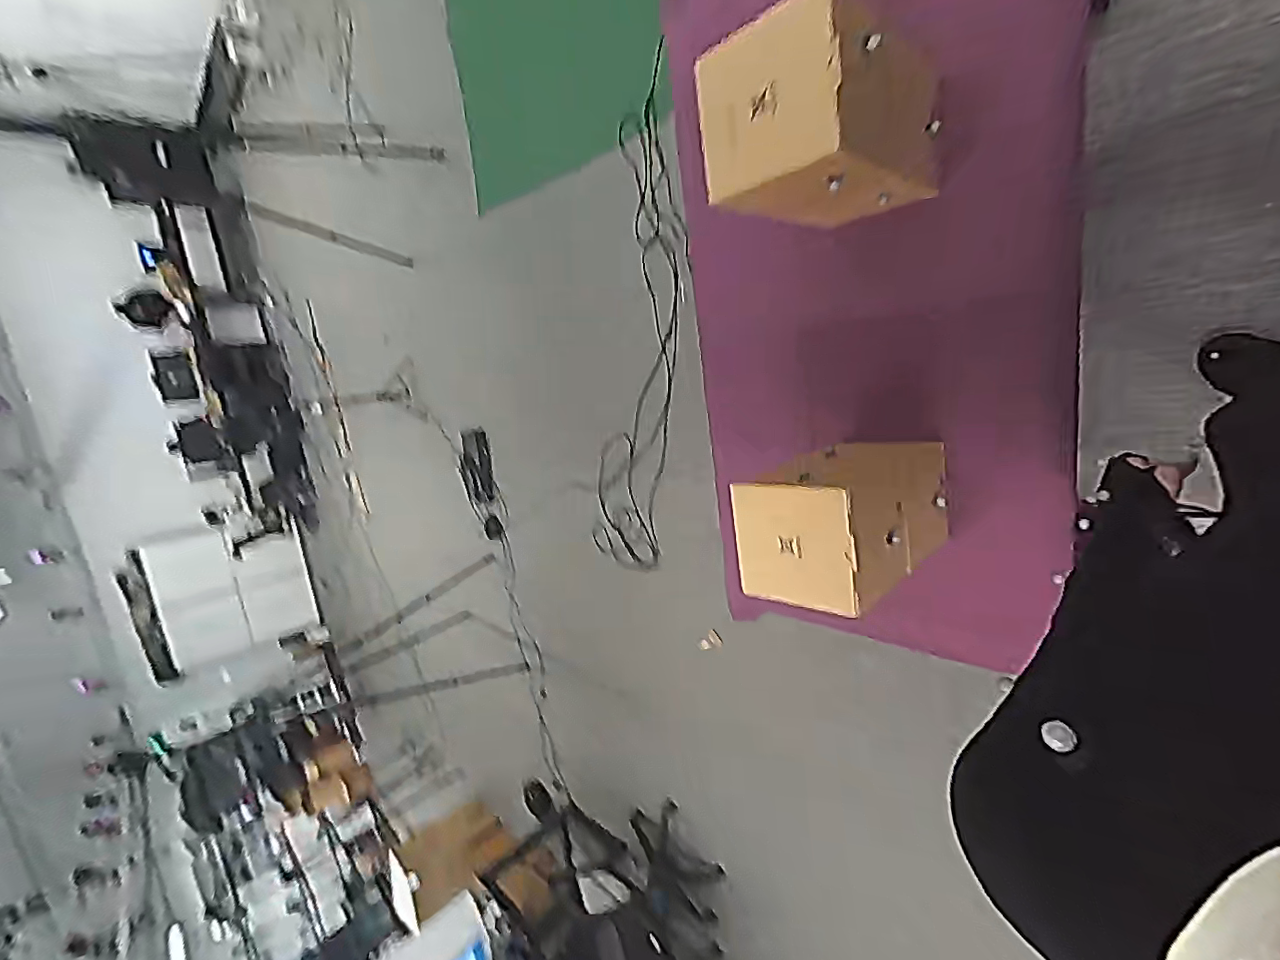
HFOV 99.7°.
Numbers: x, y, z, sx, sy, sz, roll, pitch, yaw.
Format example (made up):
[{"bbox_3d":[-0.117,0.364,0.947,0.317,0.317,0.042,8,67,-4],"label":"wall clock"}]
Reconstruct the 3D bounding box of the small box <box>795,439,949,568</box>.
[{"bbox_3d":[0.378,0.028,0.881,0.179,0.176,0.168,3,105,47],"label":"small box"}]

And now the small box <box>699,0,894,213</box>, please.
[{"bbox_3d":[0.199,-0.449,0.671,0.179,0.176,0.168,3,105,47],"label":"small box"}]

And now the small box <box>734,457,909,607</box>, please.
[{"bbox_3d":[0.260,0.062,0.774,0.179,0.176,0.168,1,103,47],"label":"small box"}]
